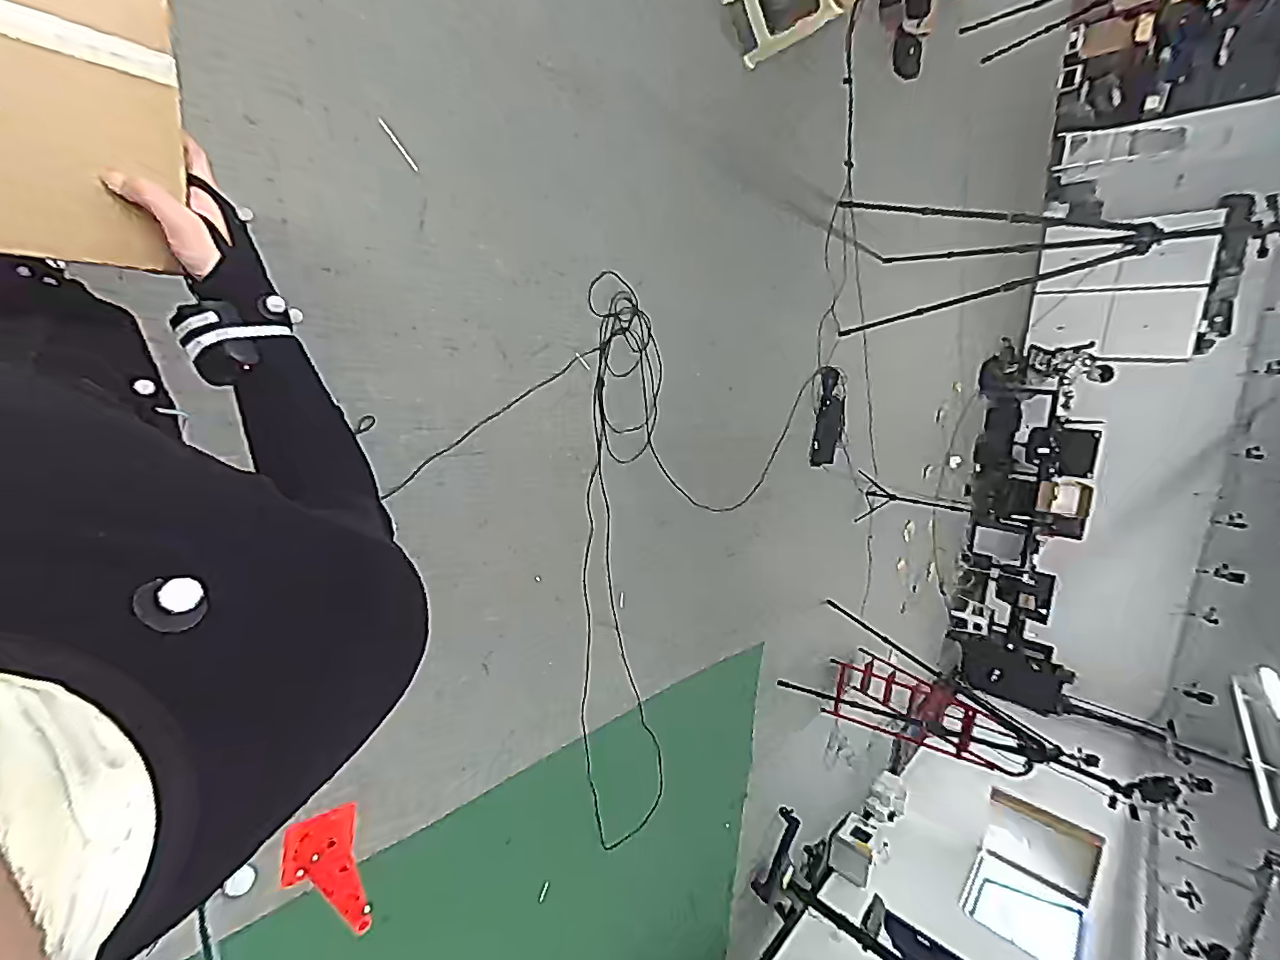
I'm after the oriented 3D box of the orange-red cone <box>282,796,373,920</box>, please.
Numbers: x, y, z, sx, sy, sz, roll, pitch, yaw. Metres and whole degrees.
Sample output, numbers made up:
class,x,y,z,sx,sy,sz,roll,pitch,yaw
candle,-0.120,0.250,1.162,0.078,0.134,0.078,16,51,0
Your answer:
class,x,y,z,sx,sy,sz,roll,pitch,yaw
orange-red cone,-0.864,1.132,1.569,0.199,0.360,0.198,3,99,-49
